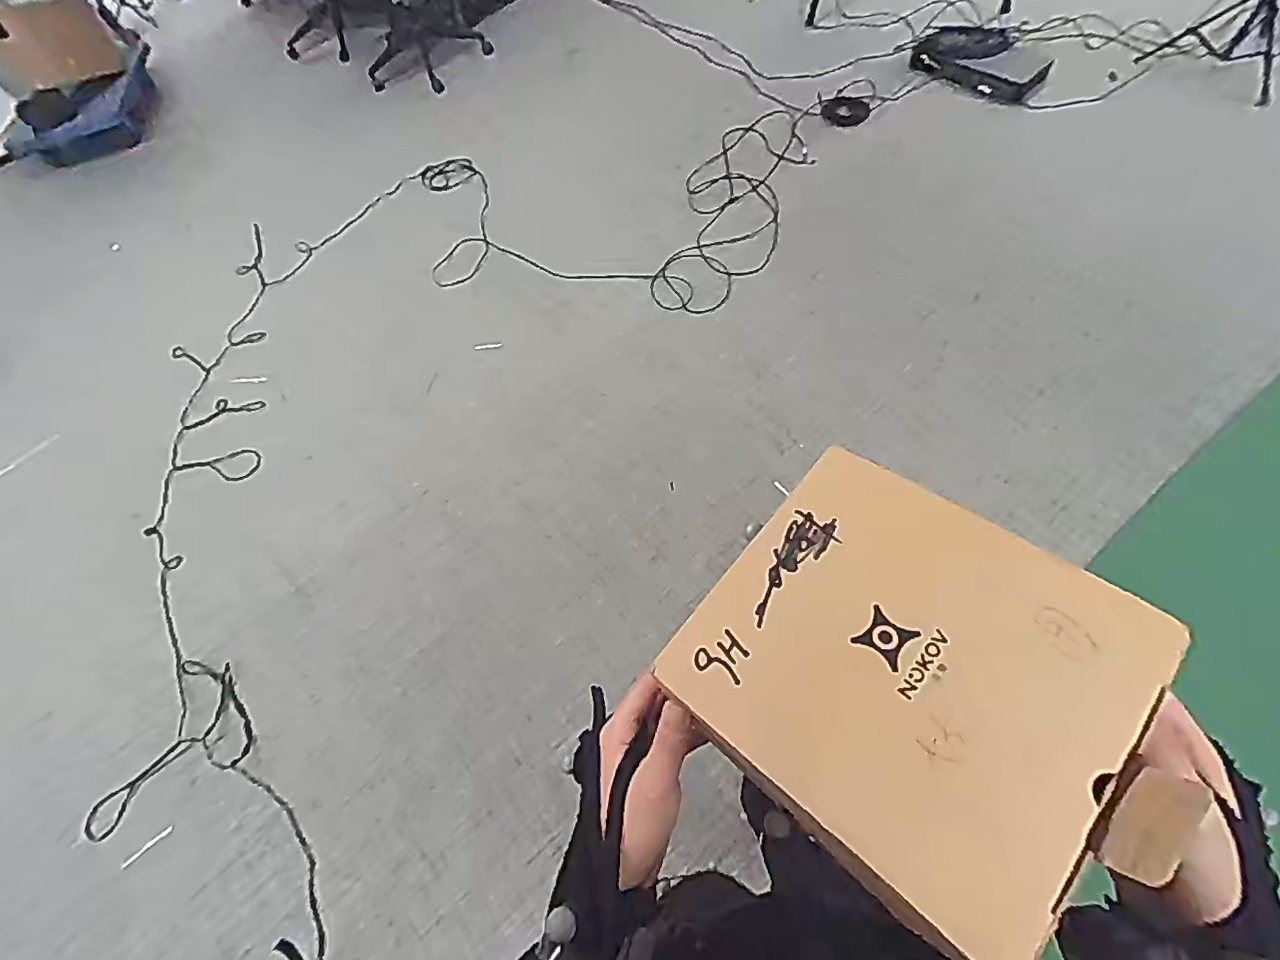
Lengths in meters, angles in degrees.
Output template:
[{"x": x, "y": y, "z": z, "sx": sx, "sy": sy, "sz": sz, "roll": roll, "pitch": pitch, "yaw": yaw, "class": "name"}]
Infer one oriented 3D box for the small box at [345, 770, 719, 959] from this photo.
[{"x": -0.054, "y": 0.316, "z": 0.346, "sx": 0.176, "sy": 0.168, "sz": 0.179, "roll": -16, "pitch": 79, "yaw": 13, "class": "small box"}]
